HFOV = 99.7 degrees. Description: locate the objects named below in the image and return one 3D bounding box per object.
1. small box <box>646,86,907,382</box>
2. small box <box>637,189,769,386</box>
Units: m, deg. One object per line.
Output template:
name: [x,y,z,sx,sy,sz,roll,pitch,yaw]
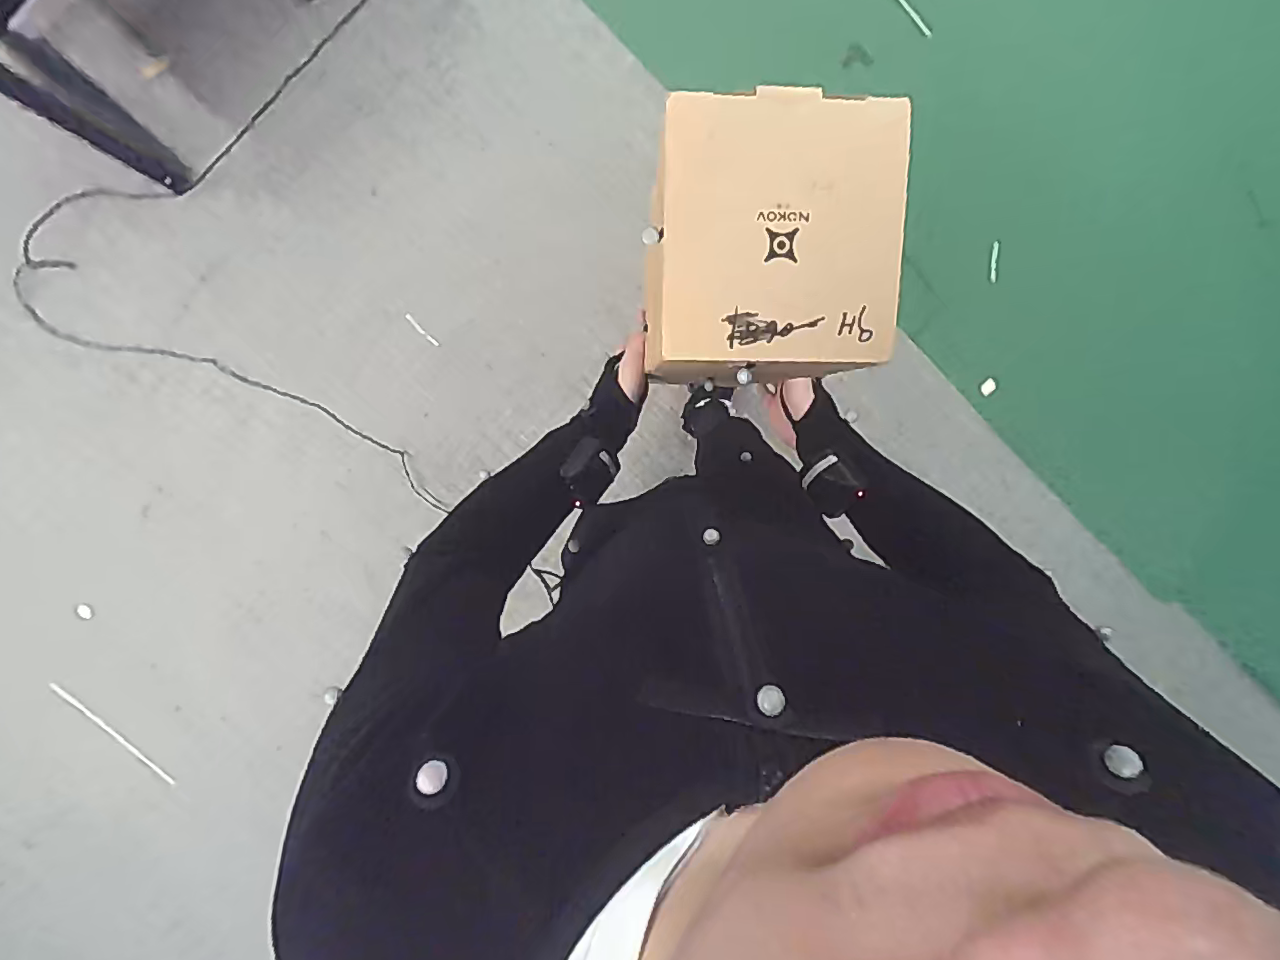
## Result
small box: [0.091,-0.176,0.440,0.168,0.176,0.179,0,97,-1]
small box: [0.083,-0.198,0.602,0.168,0.176,0.179,2,97,-3]
